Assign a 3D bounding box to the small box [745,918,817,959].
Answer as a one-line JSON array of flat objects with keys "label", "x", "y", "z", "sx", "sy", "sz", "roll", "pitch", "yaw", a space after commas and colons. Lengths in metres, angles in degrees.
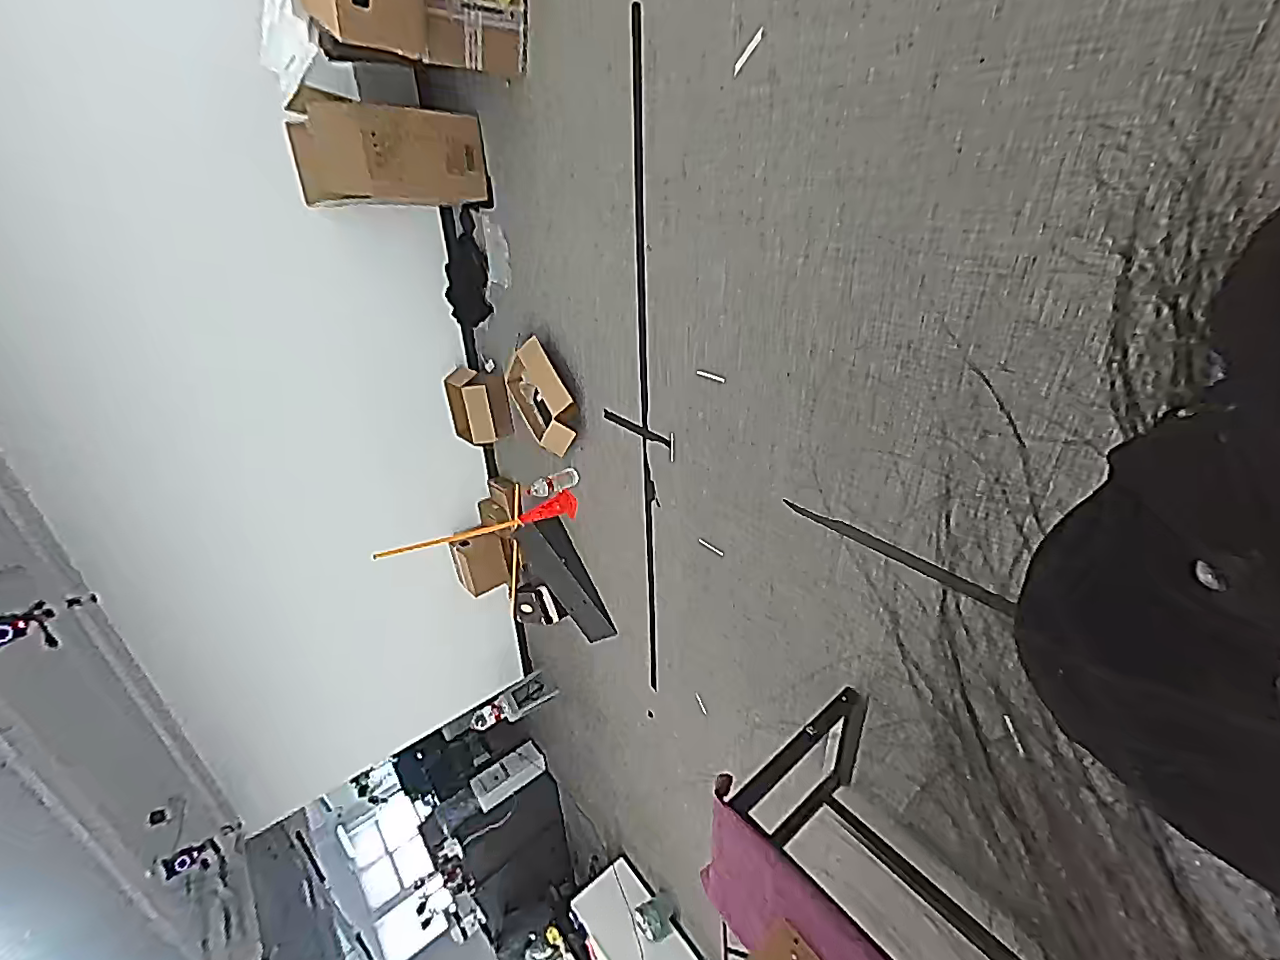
[{"label": "small box", "x": 0.399, "y": 1.409, "z": 1.535, "sx": 0.168, "sy": 0.176, "sz": 0.179, "roll": 34, "pitch": 134, "yaw": 39}]
